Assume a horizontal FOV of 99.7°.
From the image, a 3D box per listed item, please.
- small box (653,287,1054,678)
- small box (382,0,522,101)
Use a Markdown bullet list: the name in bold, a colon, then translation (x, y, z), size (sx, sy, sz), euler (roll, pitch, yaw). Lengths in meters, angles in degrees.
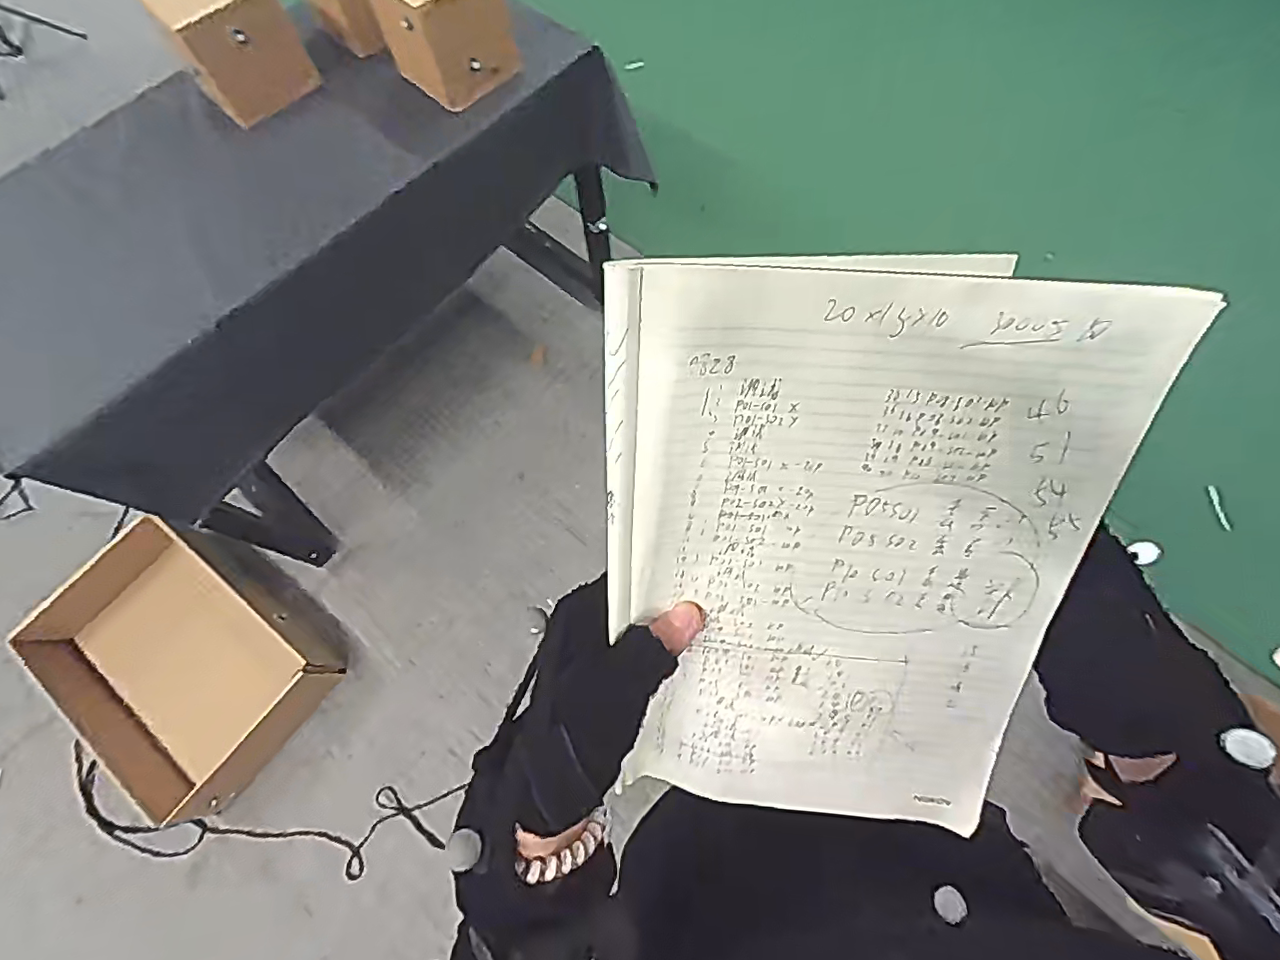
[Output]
- **small box**: translation (0.107, -0.007, 0.341), size (0.179, 0.176, 0.168), euler (-13, 100, -1)
- **small box**: translation (-0.338, -0.823, 0.959), size (0.168, 0.176, 0.179), euler (-43, 73, -13)
